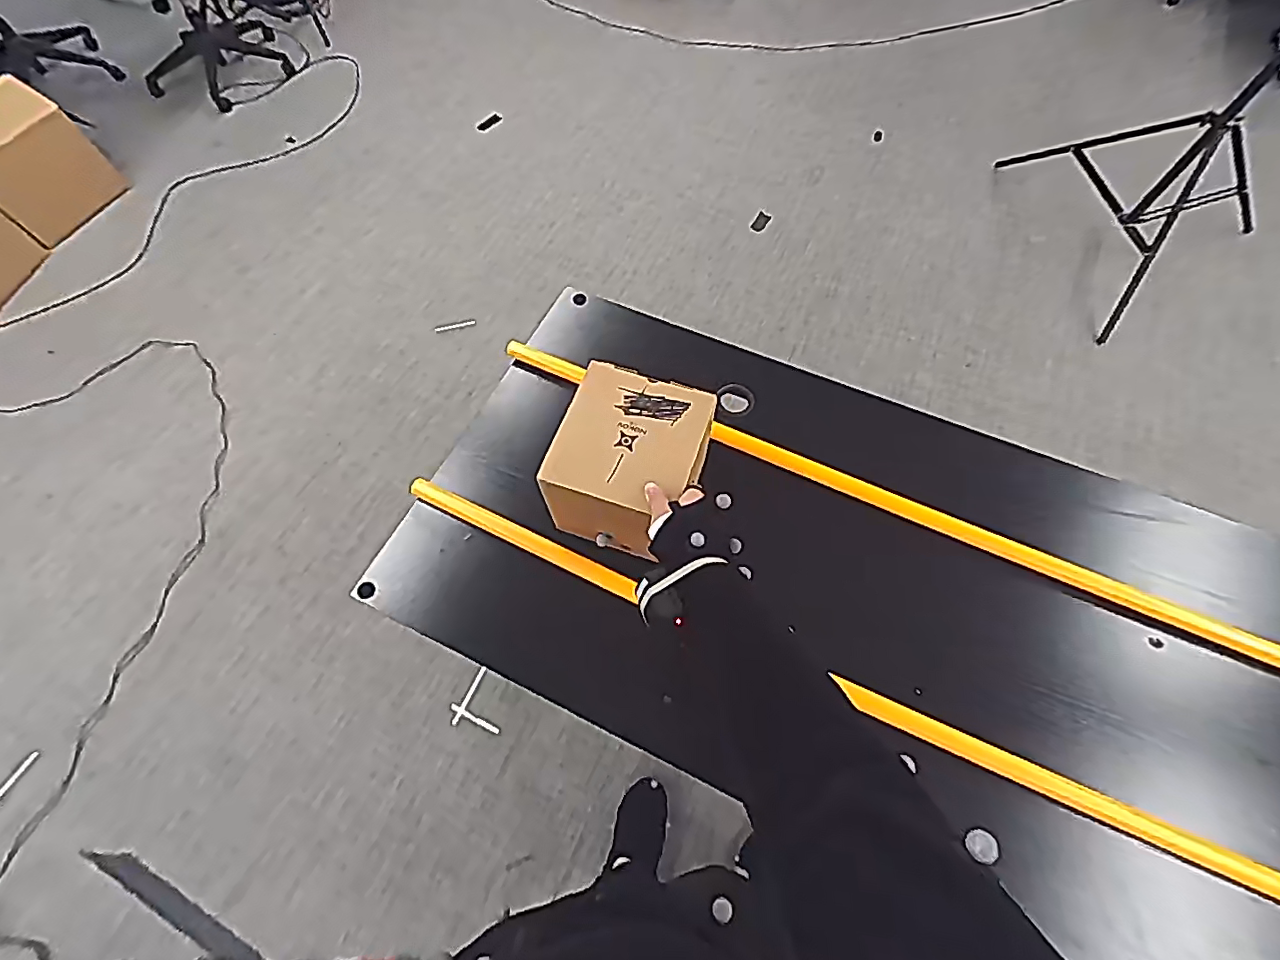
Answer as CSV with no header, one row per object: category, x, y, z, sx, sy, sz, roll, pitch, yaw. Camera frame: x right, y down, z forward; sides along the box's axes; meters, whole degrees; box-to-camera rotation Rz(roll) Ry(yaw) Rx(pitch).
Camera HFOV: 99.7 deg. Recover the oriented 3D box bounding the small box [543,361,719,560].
small box,-0.007,-0.019,0.707,0.168,0.176,0.179,17,67,9
